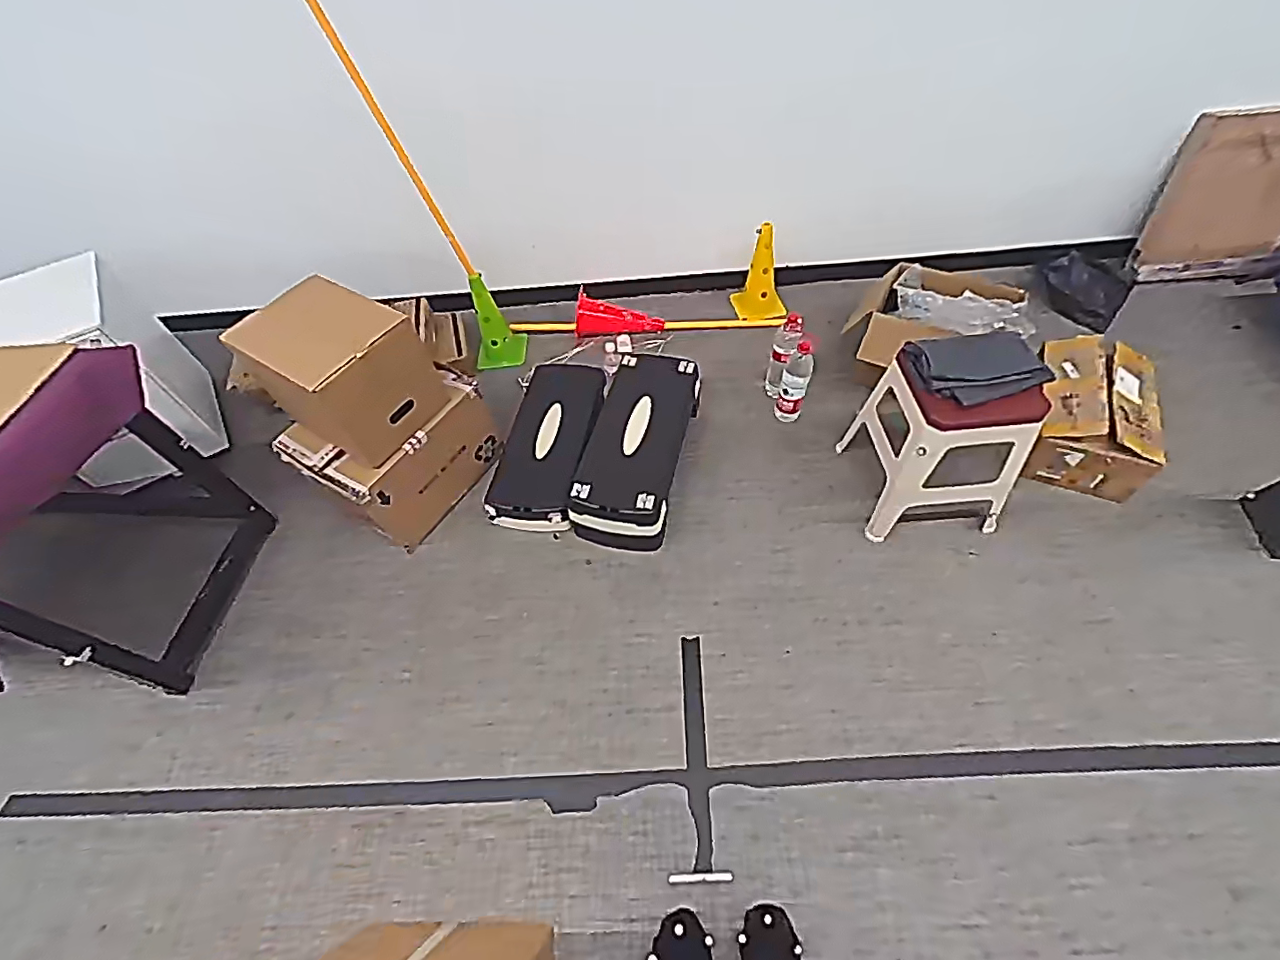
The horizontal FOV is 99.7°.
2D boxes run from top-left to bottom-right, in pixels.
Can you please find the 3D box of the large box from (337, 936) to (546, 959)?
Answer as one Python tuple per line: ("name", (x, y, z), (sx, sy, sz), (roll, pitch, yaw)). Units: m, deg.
("large box", (-0.306, 0.789, 0.598), (0.320, 0.408, 0.320), (-7, 71, 6))
